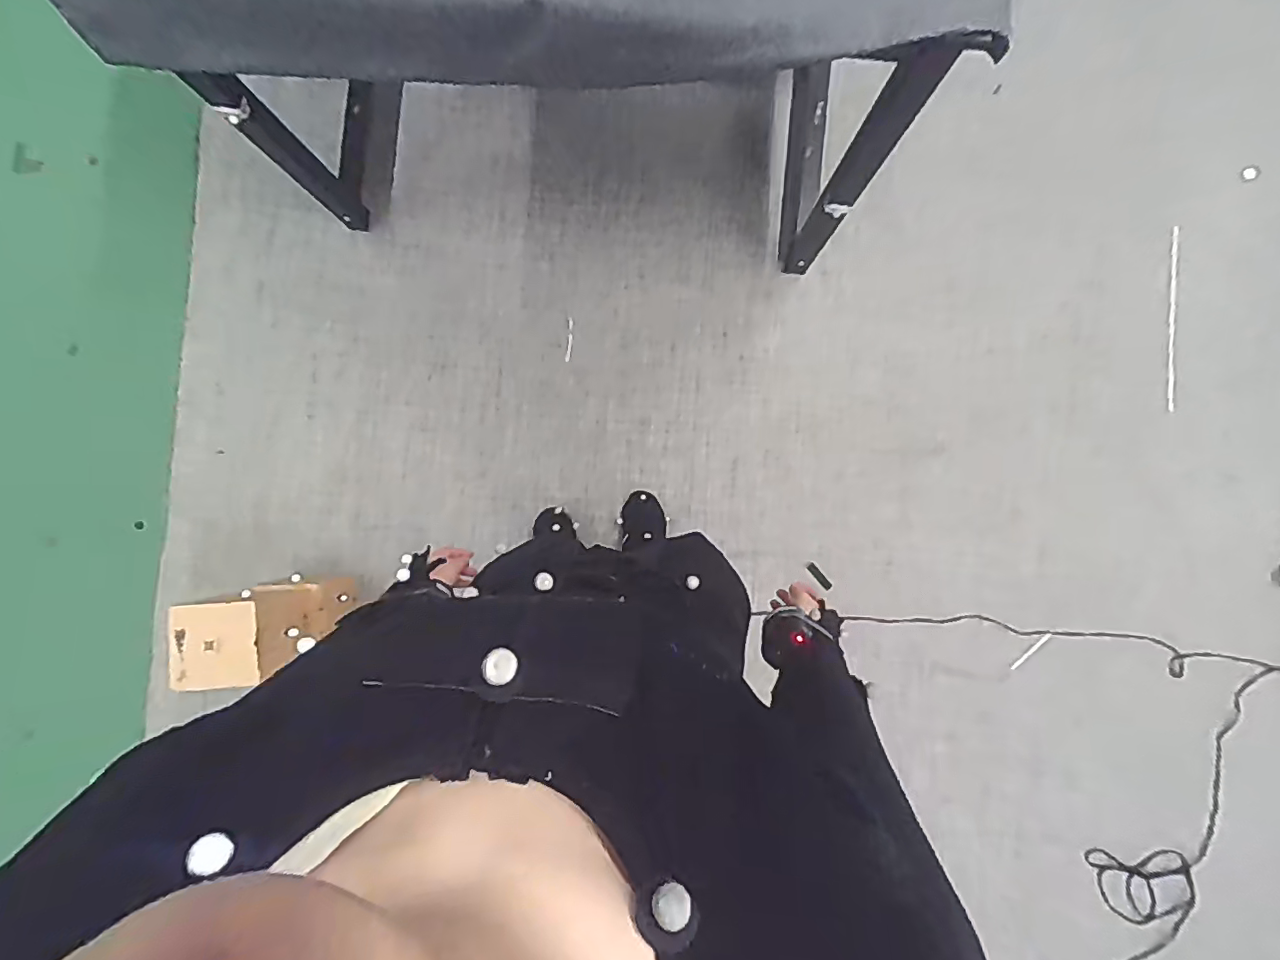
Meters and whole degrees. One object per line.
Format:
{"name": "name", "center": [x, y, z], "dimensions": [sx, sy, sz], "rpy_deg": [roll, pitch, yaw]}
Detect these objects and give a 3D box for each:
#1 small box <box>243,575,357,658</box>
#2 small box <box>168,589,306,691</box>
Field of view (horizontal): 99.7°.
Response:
{"name": "small box", "center": [-0.798, 0.319, 1.284], "dimensions": [0.179, 0.176, 0.168], "rpy_deg": [-3, 87, 1]}
{"name": "small box", "center": [-0.821, 0.323, 1.121], "dimensions": [0.179, 0.176, 0.168], "rpy_deg": [-3, 87, -1]}
